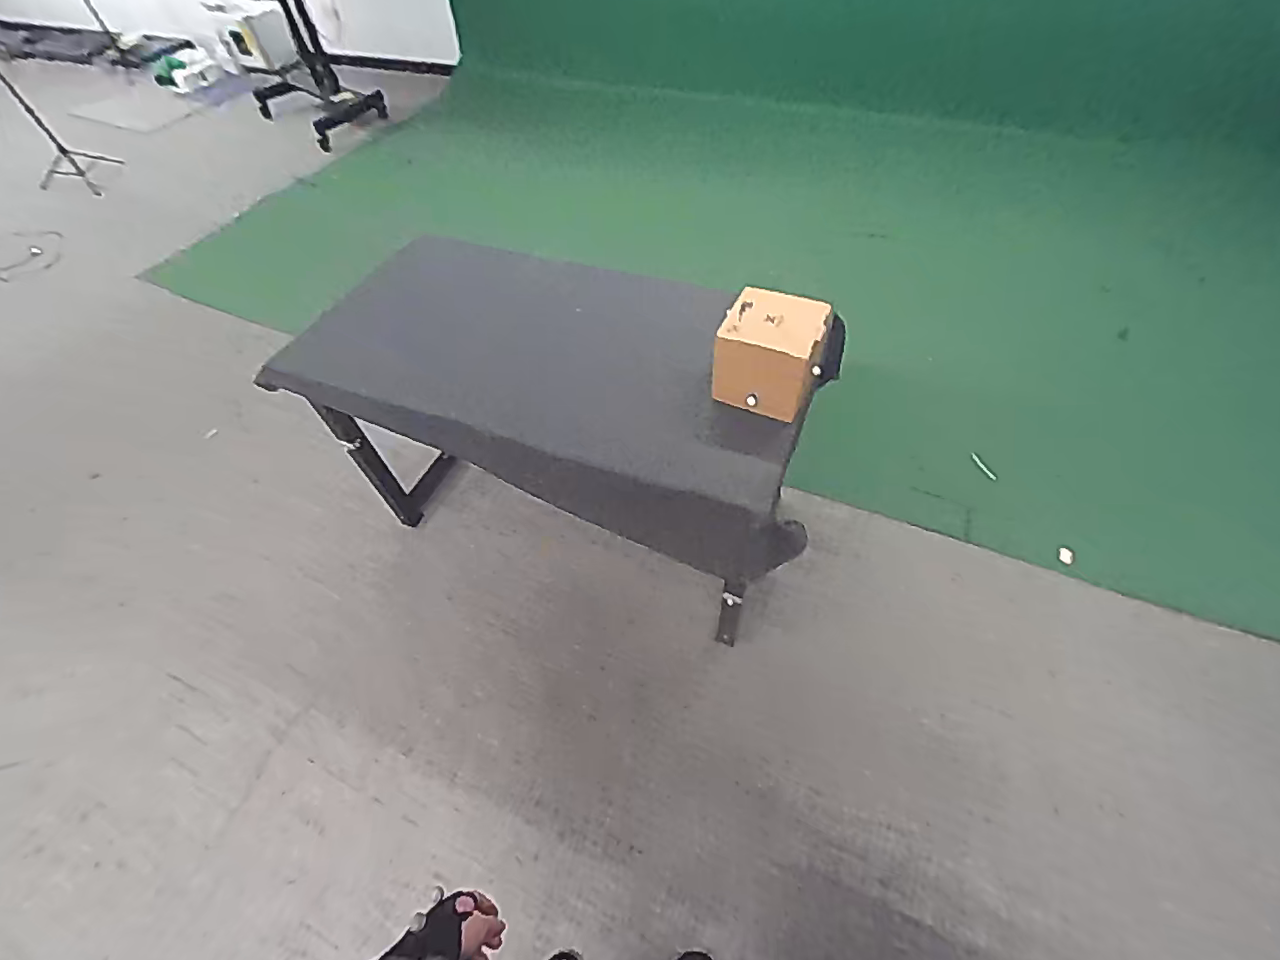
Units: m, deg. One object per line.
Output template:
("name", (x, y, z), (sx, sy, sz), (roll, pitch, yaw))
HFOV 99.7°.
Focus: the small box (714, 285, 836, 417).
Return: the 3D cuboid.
("small box", (0.260, -0.251, 1.071), (0.179, 0.176, 0.168), (22, 58, 17))
